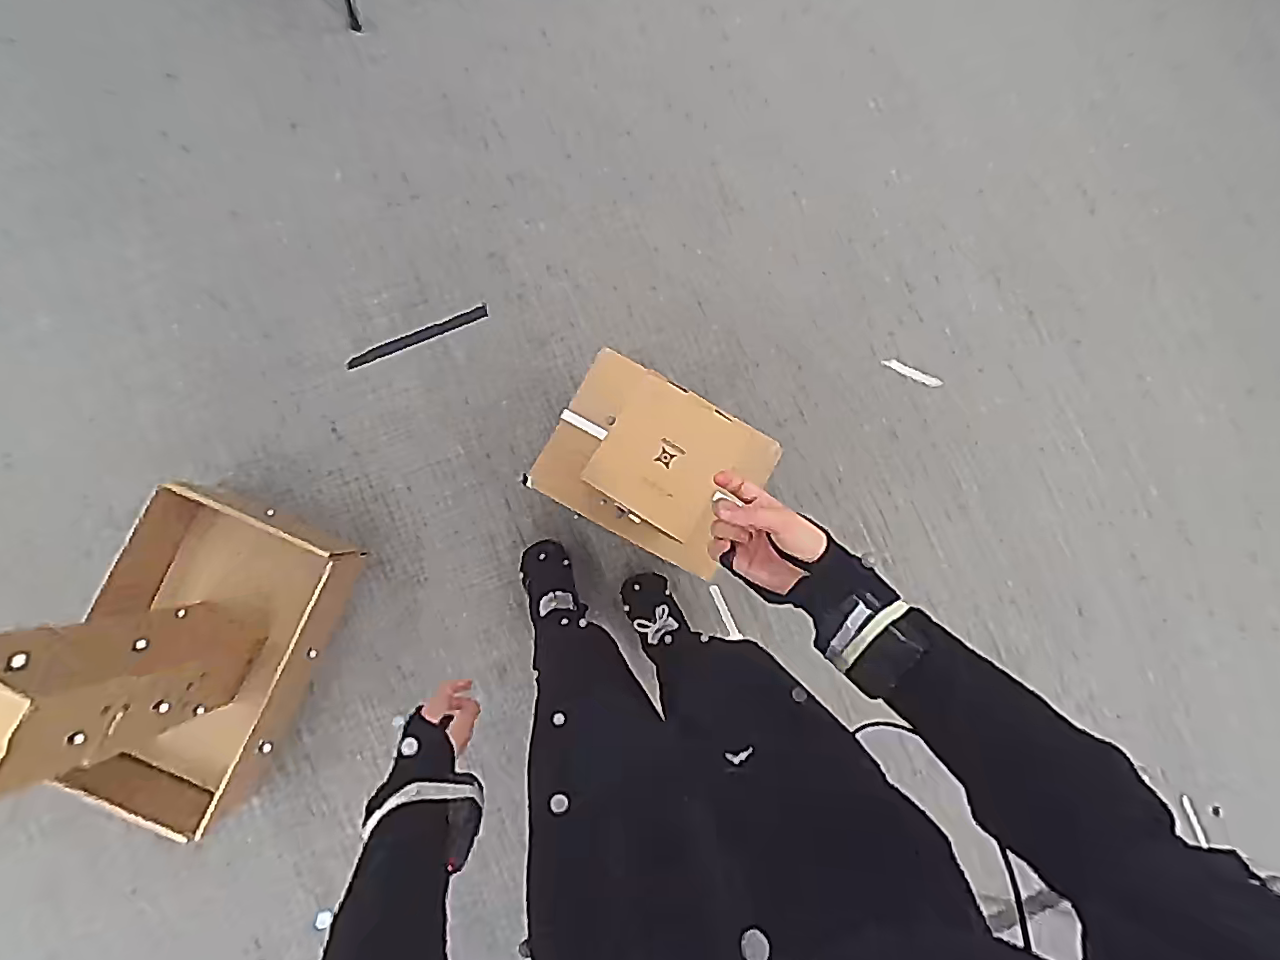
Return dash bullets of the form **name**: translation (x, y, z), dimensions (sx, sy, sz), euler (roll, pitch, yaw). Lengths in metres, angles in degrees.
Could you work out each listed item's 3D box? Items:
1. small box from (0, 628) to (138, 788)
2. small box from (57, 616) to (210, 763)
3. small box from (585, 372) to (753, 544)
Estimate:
- **small box**: translation (-0.935, 0.336, 0.808), dimensions (0.179, 0.176, 0.168), euler (28, 84, 0)
- **small box**: translation (-0.939, 0.360, 0.970), dimensions (0.179, 0.176, 0.168), euler (29, 84, 0)
- **small box**: translation (0.035, -0.025, 0.791), dimensions (0.168, 0.176, 0.179), euler (32, 85, 0)
